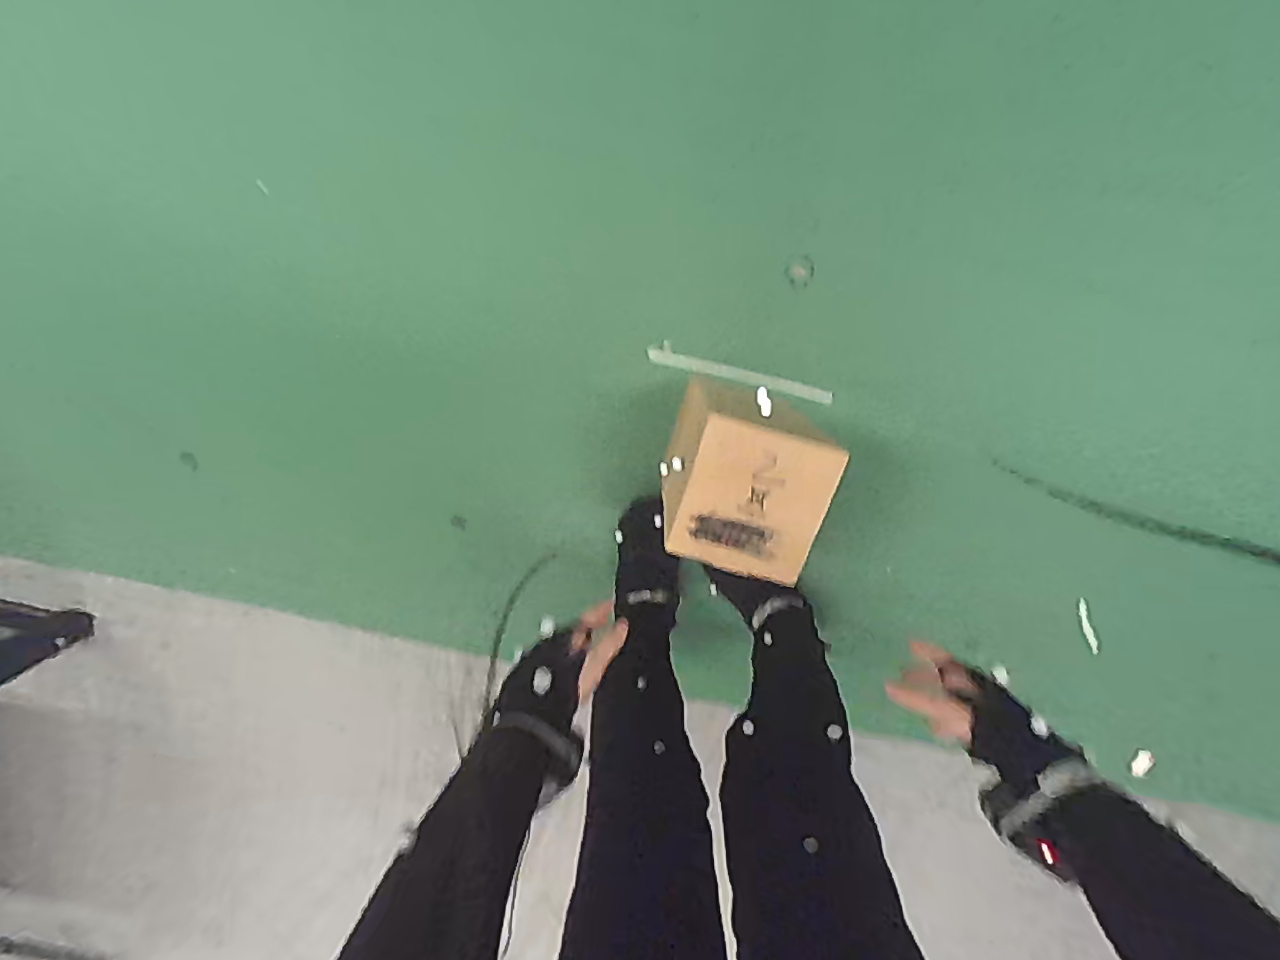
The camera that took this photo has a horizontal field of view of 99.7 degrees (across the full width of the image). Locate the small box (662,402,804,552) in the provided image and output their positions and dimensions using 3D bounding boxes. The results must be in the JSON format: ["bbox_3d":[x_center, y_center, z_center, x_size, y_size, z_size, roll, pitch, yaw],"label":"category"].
[{"bbox_3d":[0.134,-0.015,0.862,0.168,0.176,0.179,16,106,-3],"label":"small box"}]
